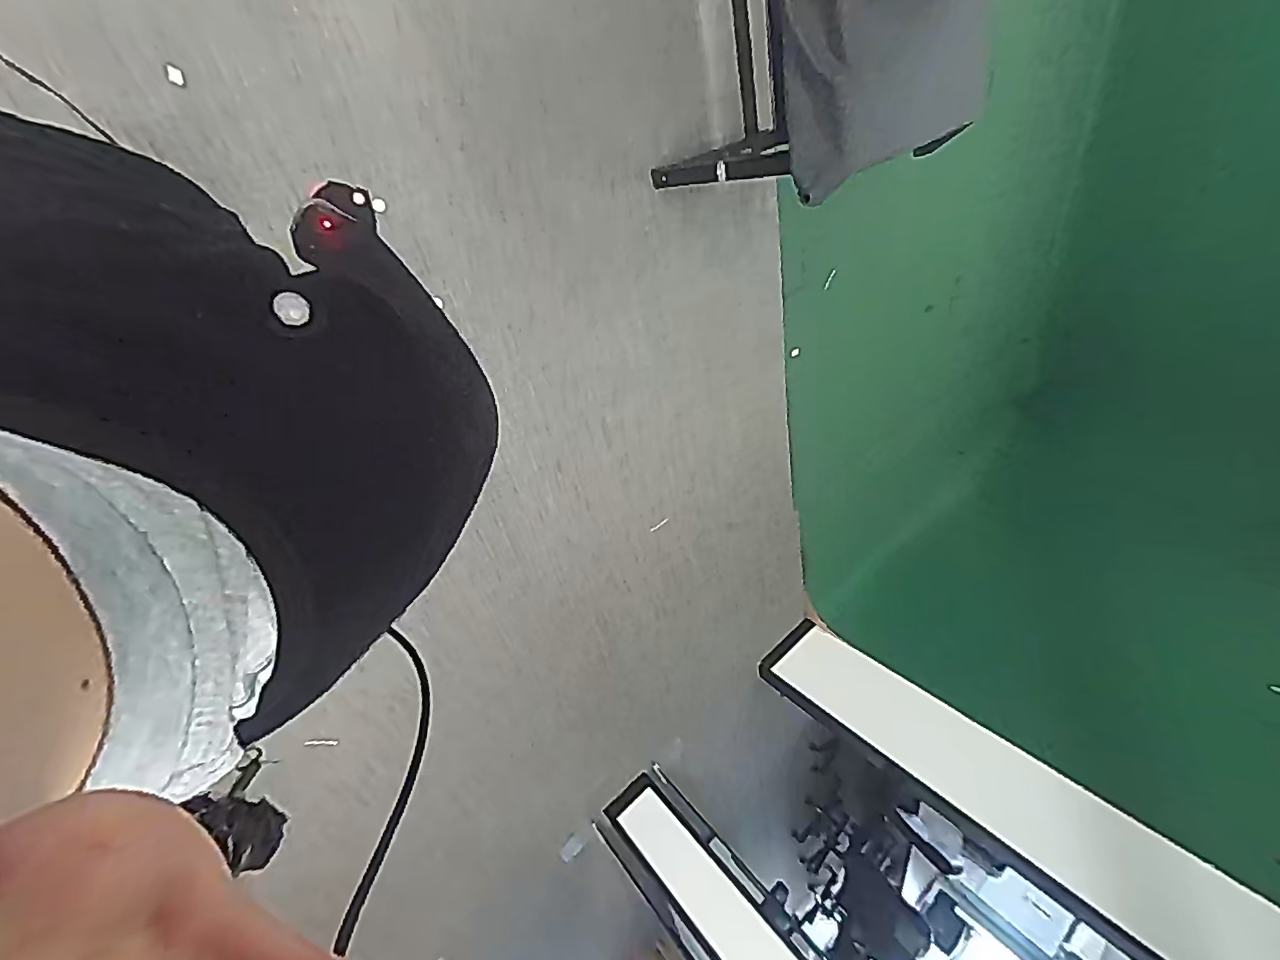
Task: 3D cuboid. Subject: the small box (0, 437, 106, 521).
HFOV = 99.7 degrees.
[{"bbox_3d":[-1.209,0.042,1.062,0.179,0.176,0.168,-42,131,-16],"label":"small box"}]
